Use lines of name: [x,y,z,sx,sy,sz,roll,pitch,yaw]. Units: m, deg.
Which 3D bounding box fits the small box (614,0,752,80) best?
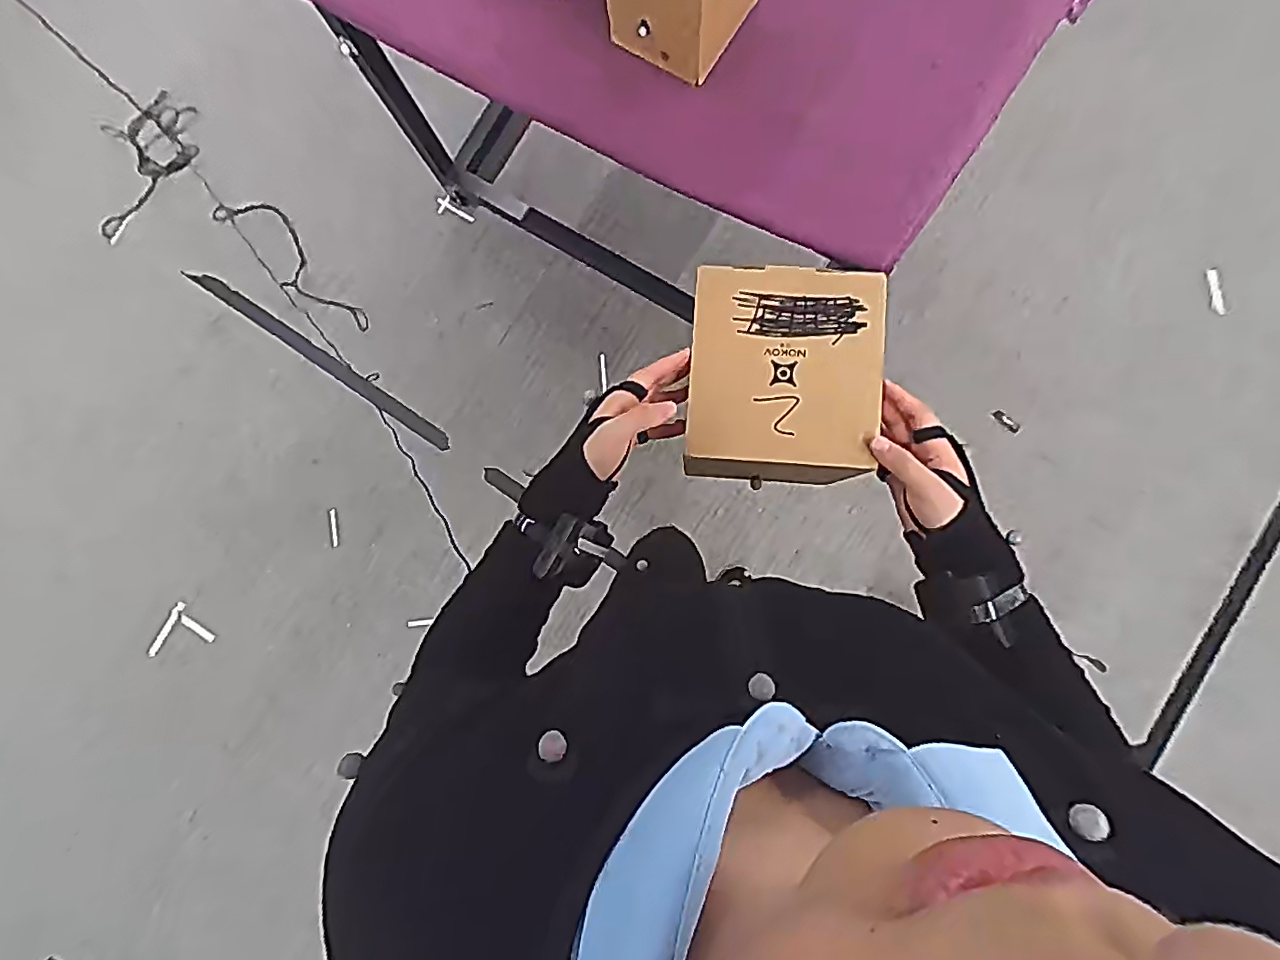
small box: [0.067,-0.736,0.770,0.168,0.176,0.179,33,88,6]
